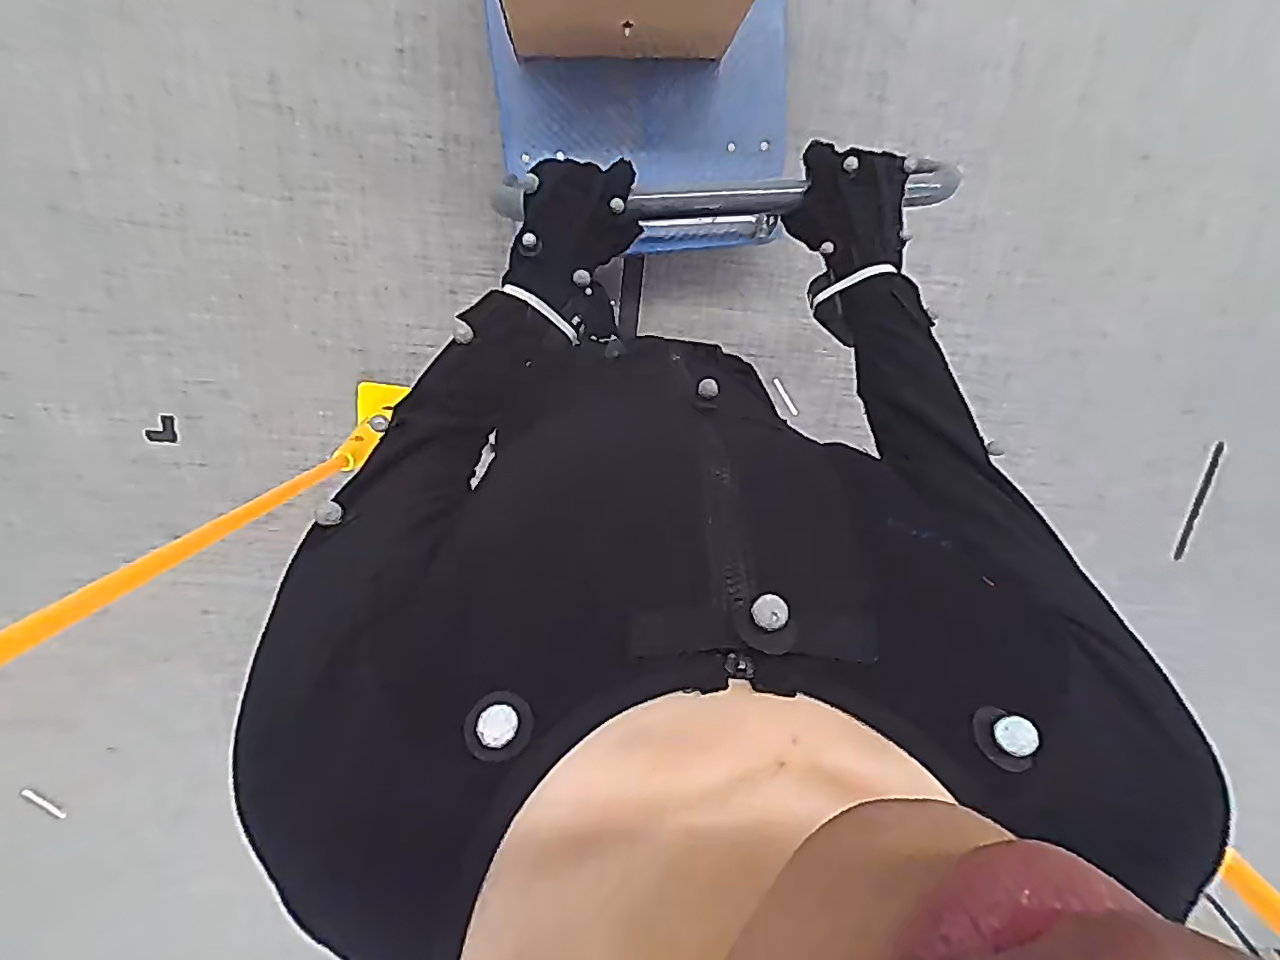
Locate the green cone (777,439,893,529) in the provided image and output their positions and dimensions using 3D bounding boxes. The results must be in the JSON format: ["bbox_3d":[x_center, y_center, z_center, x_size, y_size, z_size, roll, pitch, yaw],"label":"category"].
[{"bbox_3d":[0.518,0.041,1.371,0.202,0.368,0.200,7,106,-9],"label":"green cone"}]

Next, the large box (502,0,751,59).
[{"bbox_3d":[-0.029,-0.918,0.866,0.408,0.320,0.320,-4,108,-4],"label":"large box"}]
